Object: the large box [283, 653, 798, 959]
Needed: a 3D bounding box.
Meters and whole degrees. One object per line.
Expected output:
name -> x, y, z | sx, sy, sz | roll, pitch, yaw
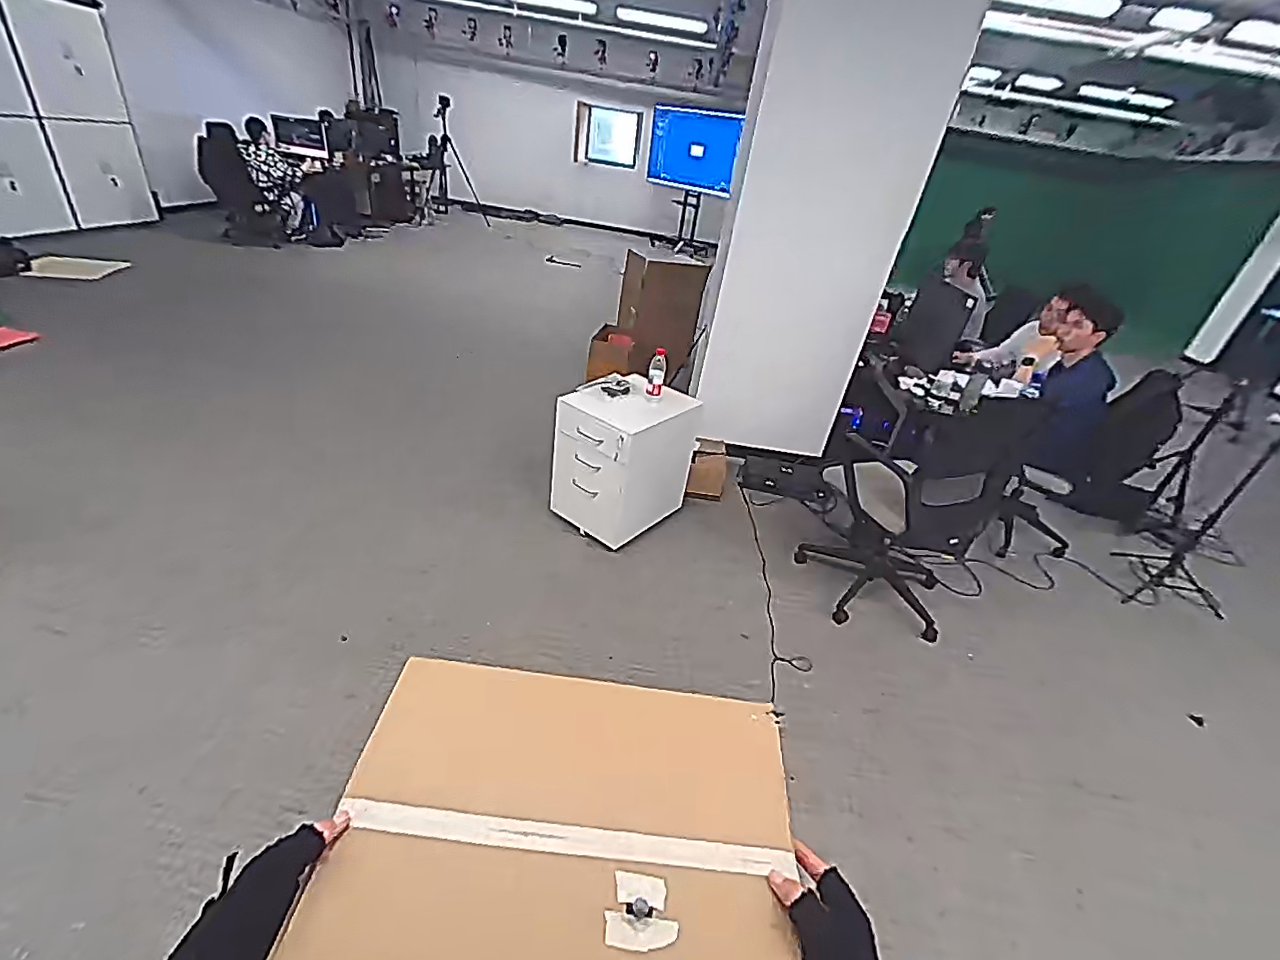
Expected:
large box -> -0.082, 0.429, 0.584 | 0.408, 0.320, 0.320 | 9, 39, -1
